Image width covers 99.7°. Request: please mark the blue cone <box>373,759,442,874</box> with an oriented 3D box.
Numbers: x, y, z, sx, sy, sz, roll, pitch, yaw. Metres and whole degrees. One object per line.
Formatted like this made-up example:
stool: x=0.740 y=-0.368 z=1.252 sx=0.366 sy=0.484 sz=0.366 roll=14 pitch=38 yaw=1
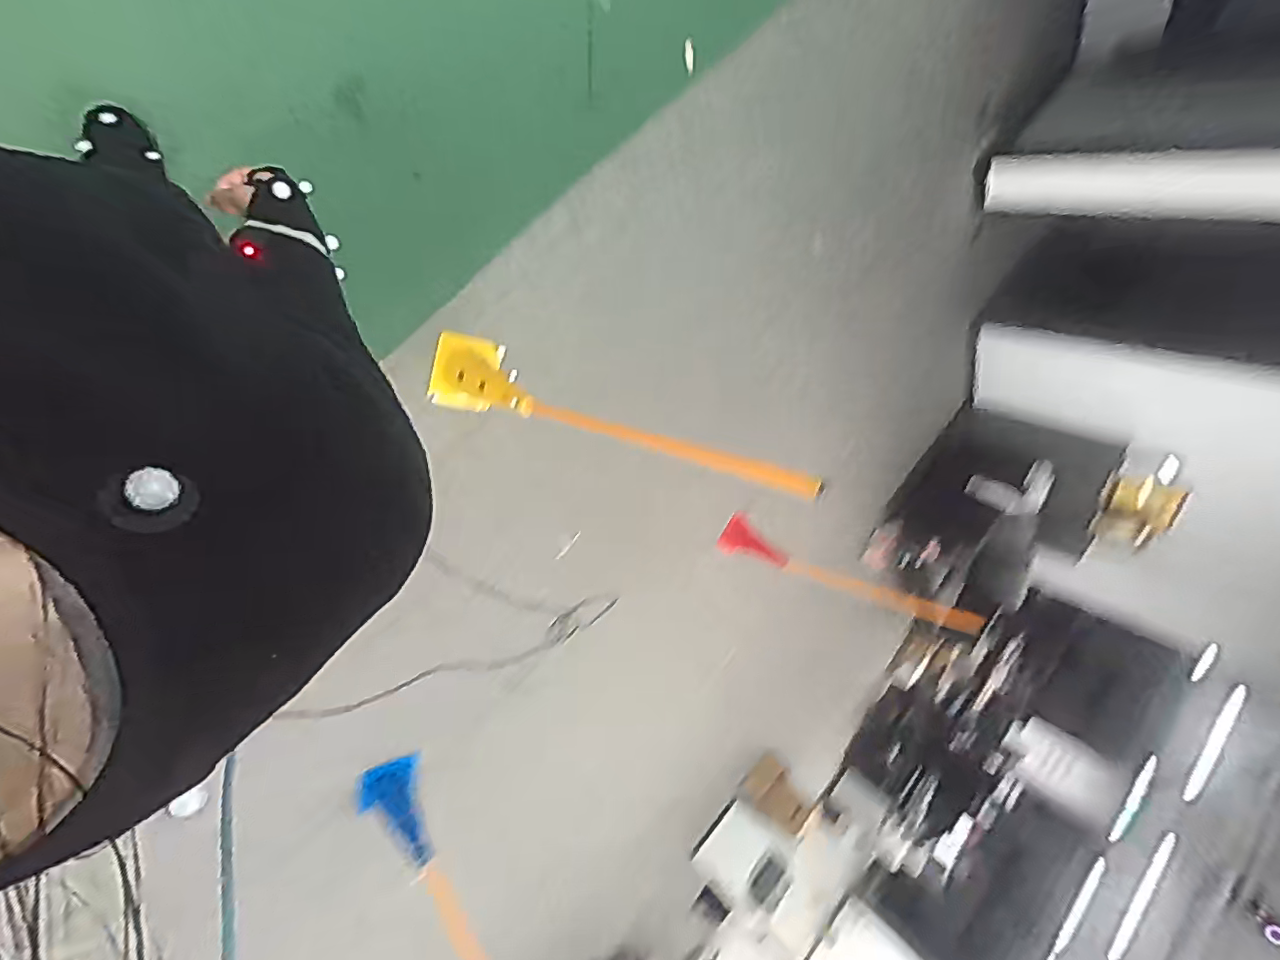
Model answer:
blue cone: x=-0.770 y=1.185 z=1.871 sx=0.192 sy=0.380 sz=0.193 roll=-8 pitch=119 yaw=-42
